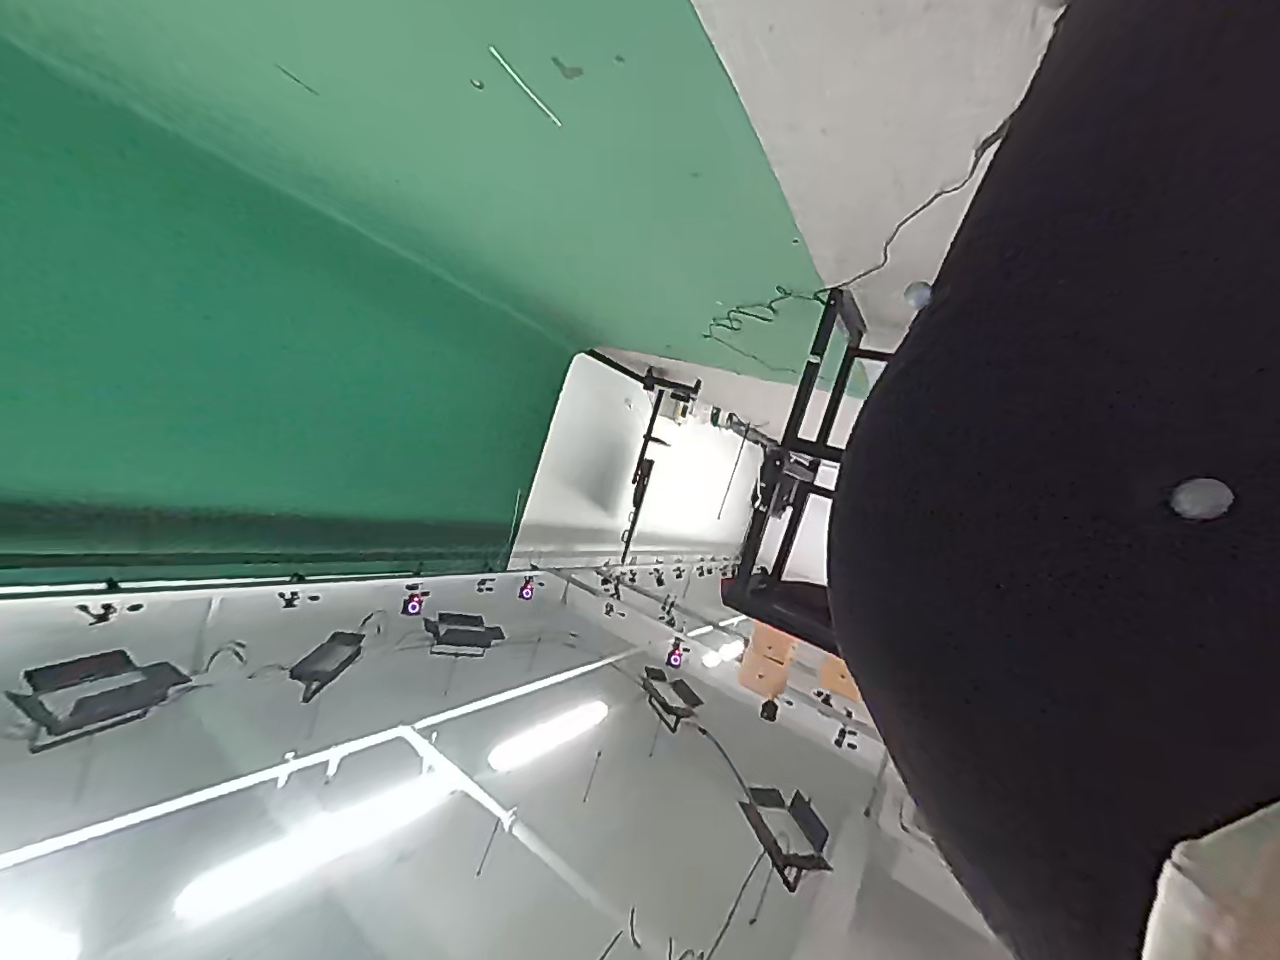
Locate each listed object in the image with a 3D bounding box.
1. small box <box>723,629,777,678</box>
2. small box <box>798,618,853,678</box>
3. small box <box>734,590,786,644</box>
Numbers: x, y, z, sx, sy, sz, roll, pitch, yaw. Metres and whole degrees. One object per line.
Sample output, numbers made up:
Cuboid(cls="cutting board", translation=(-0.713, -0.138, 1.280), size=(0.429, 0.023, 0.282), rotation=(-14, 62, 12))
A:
Cuboid(cls="small box", translation=(0.512, 0.780, 2.496), size=(0.179, 0.176, 0.168), rotation=(18, -175, 33))
Cuboid(cls="small box", translation=(0.803, 0.715, 2.319), size=(0.179, 0.176, 0.168), rotation=(19, -175, 28))
Cuboid(cls="small box", translation=(0.558, 0.624, 2.484), size=(0.179, 0.176, 0.168), rotation=(19, -174, 26))
